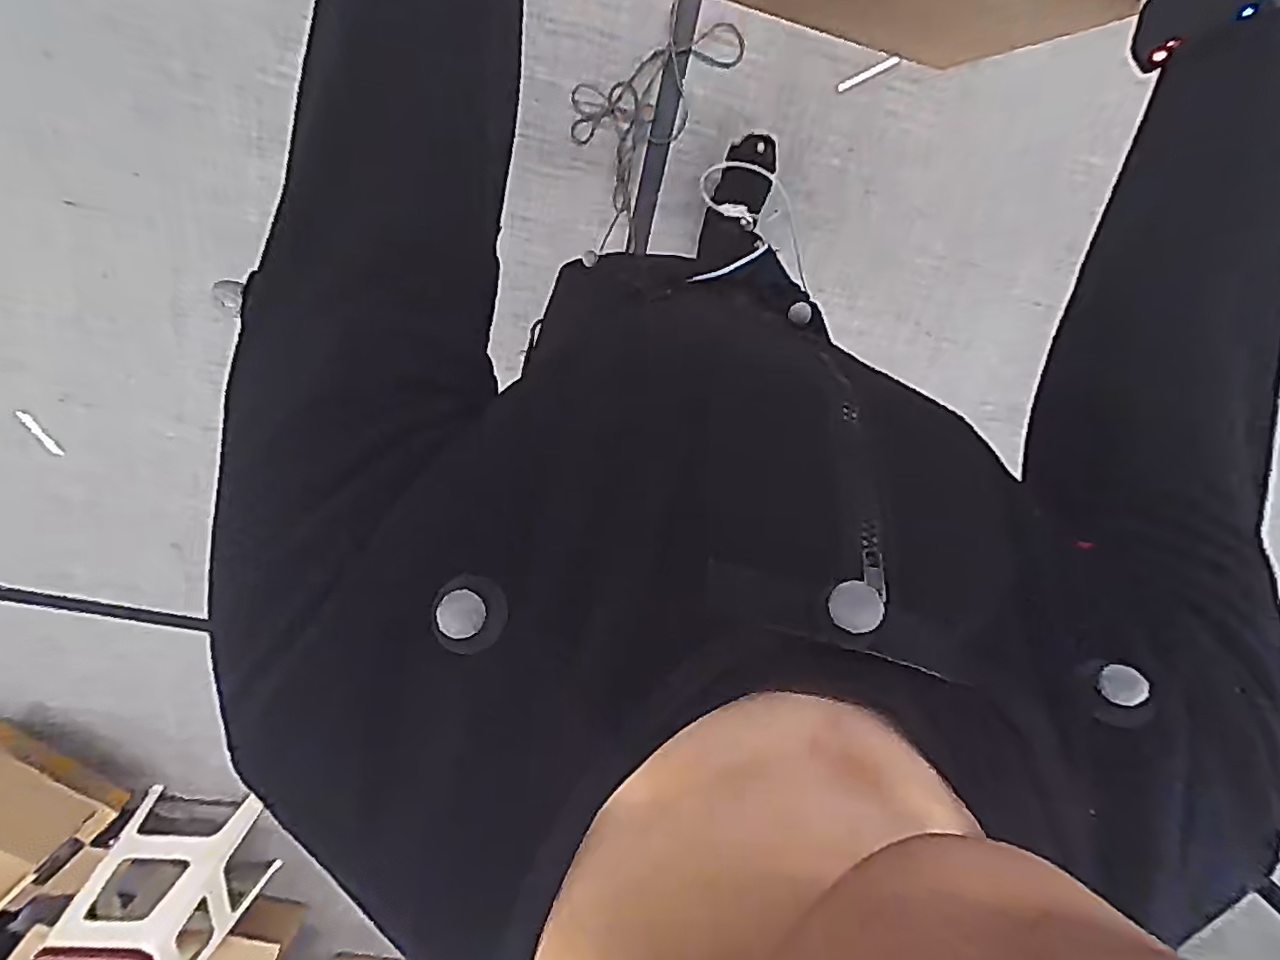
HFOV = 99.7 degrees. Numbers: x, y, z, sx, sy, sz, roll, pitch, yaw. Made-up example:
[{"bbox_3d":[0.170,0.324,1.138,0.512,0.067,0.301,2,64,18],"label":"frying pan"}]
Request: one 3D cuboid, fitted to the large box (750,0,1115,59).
[{"bbox_3d":[0.184,-0.565,0.389,0.408,0.320,0.320,12,122,-7],"label":"large box"}]
